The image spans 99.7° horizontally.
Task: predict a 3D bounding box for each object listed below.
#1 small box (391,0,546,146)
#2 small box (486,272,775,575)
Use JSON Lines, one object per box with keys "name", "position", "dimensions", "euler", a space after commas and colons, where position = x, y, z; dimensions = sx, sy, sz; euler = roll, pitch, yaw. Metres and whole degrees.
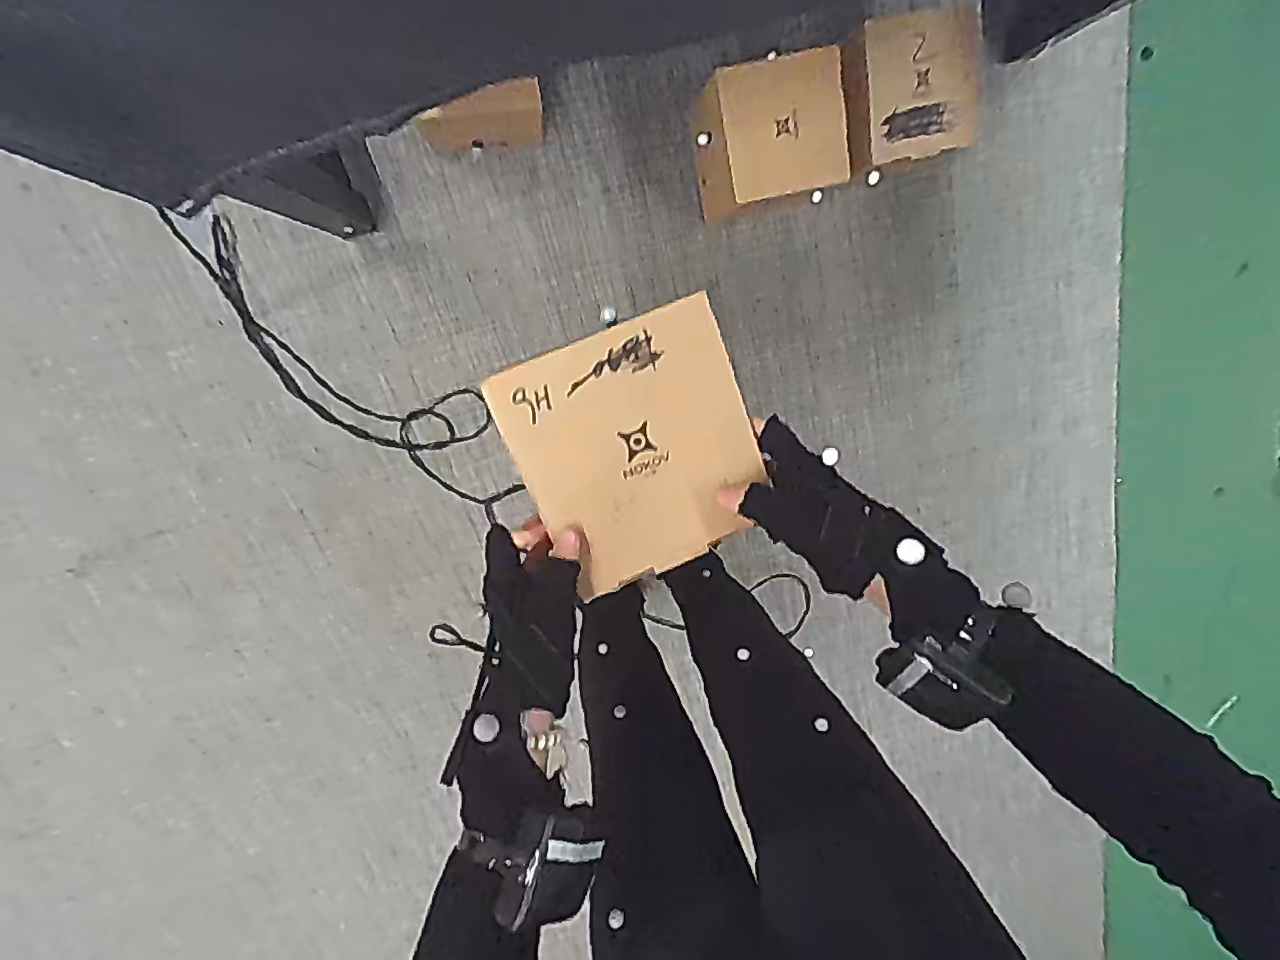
{"name": "small box", "position": [-0.219, -0.571, 0.715], "dimensions": [0.168, 0.176, 0.179], "euler": [-9, 108, -6]}
{"name": "small box", "position": [-0.013, -0.054, 0.456], "dimensions": [0.168, 0.176, 0.179], "euler": [-22, 106, -7]}
